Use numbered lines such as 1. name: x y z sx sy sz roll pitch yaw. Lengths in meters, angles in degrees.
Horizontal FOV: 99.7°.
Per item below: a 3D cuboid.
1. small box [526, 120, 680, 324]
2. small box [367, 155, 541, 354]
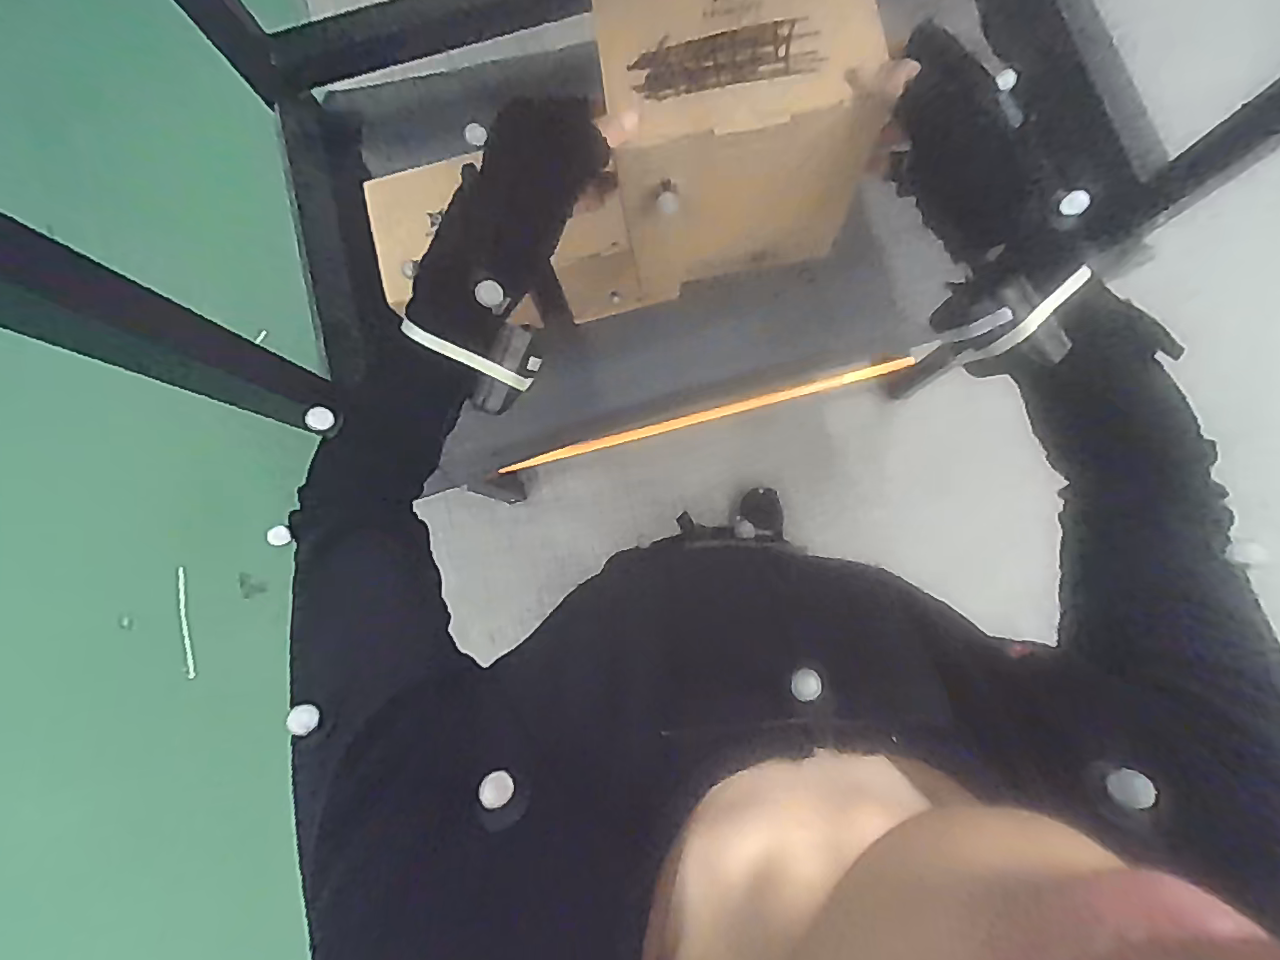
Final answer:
1. small box: -0.047 -0.349 0.759 0.168 0.176 0.179 -15 81 0
2. small box: -0.249 -0.304 0.758 0.168 0.176 0.179 -15 81 0
